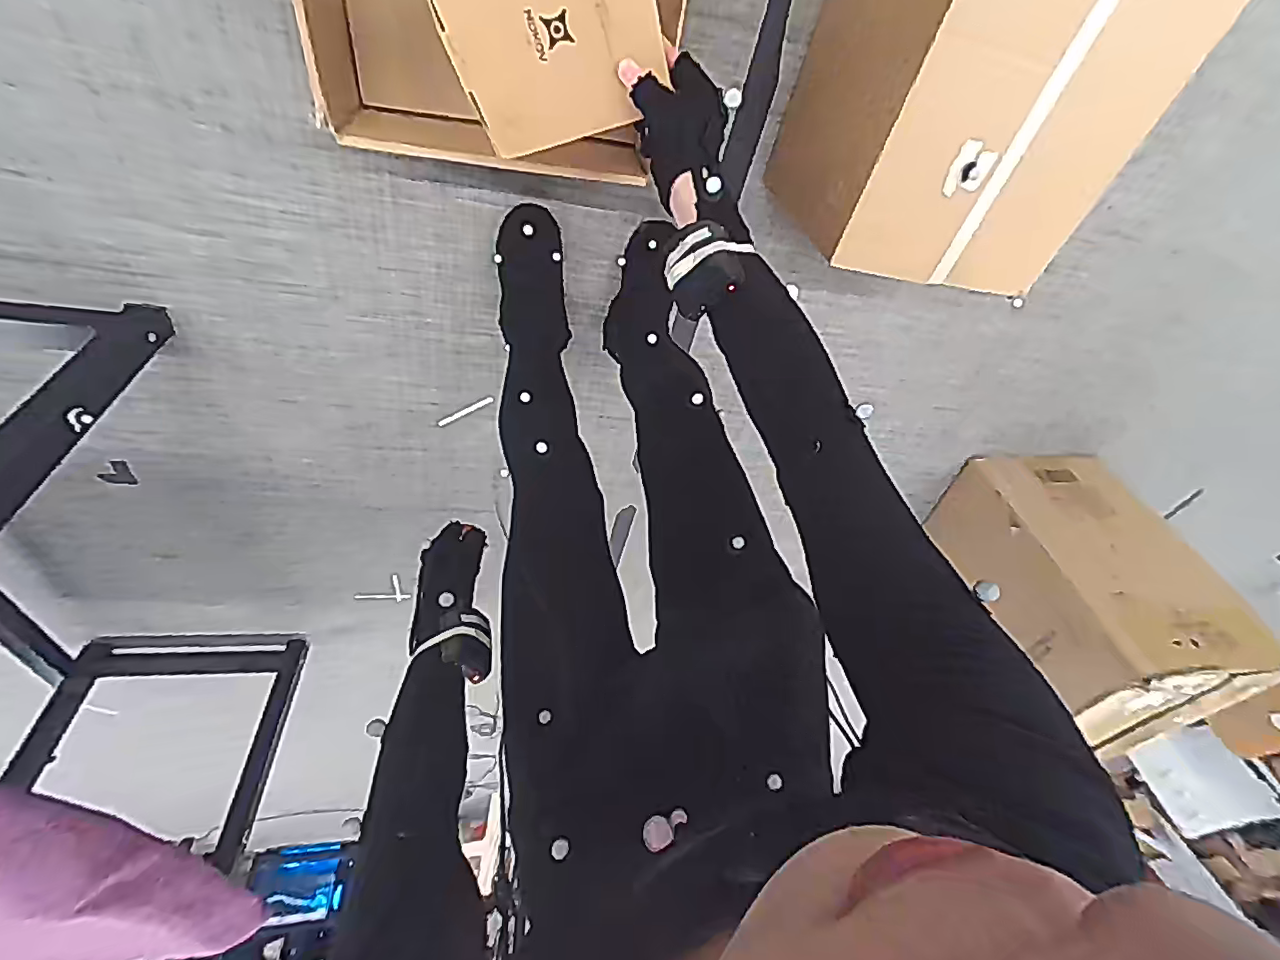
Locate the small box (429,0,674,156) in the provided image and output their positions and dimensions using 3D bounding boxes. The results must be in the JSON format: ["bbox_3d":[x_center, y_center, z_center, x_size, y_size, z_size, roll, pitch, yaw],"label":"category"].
[{"bbox_3d":[-0.075,-0.431,0.481,0.179,0.176,0.168,-12,144,9],"label":"small box"}]

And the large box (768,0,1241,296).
[{"bbox_3d":[0.411,-0.511,0.691,0.320,0.320,0.408,4,136,-13],"label":"large box"}]
